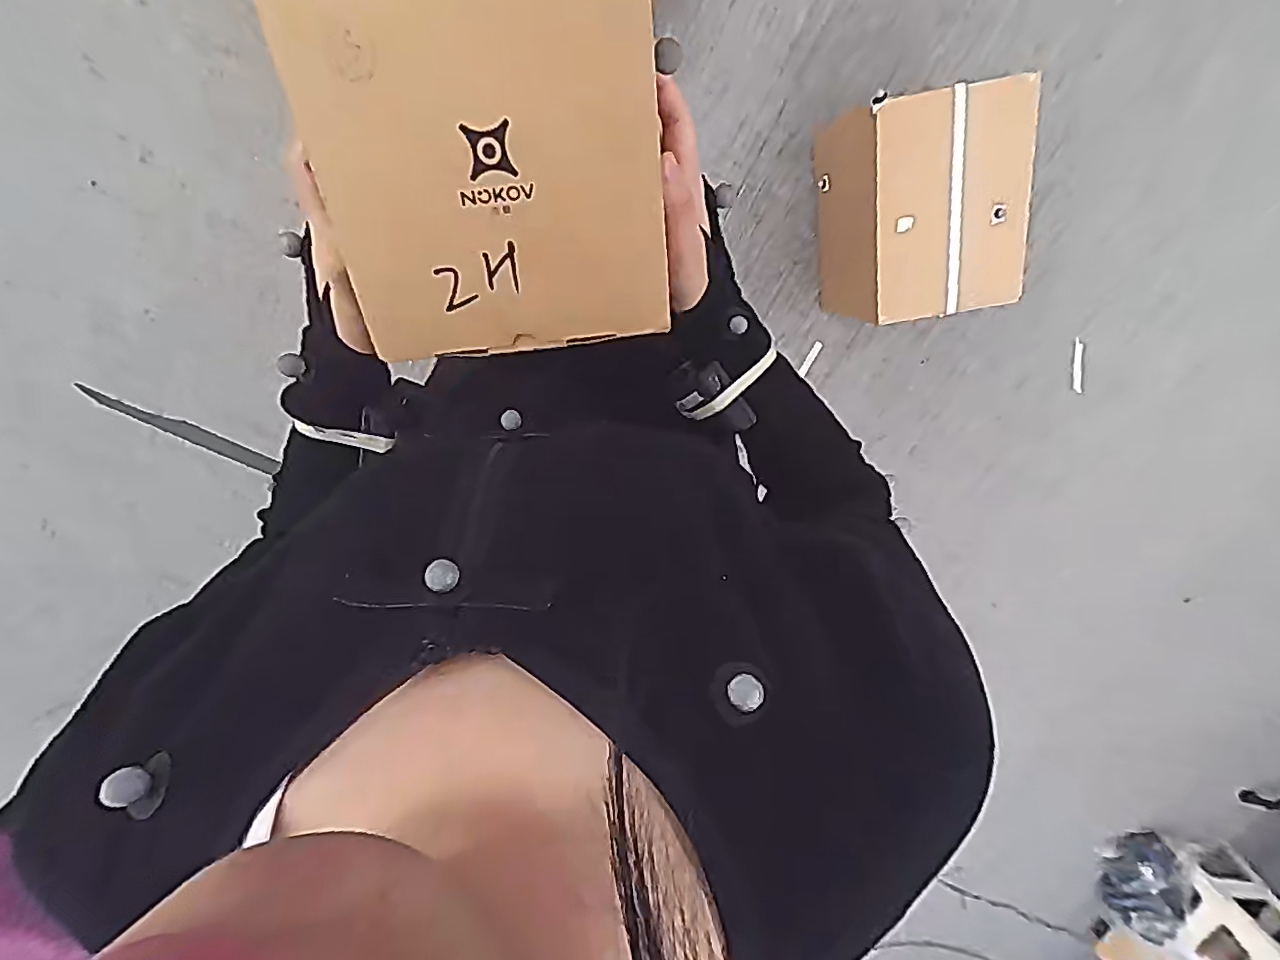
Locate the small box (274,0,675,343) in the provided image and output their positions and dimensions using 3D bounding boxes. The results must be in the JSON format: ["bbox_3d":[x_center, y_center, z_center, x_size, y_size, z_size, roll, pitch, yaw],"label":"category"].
[{"bbox_3d":[-0.074,-0.197,0.326,0.168,0.176,0.179,-6,121,-1],"label":"small box"}]
